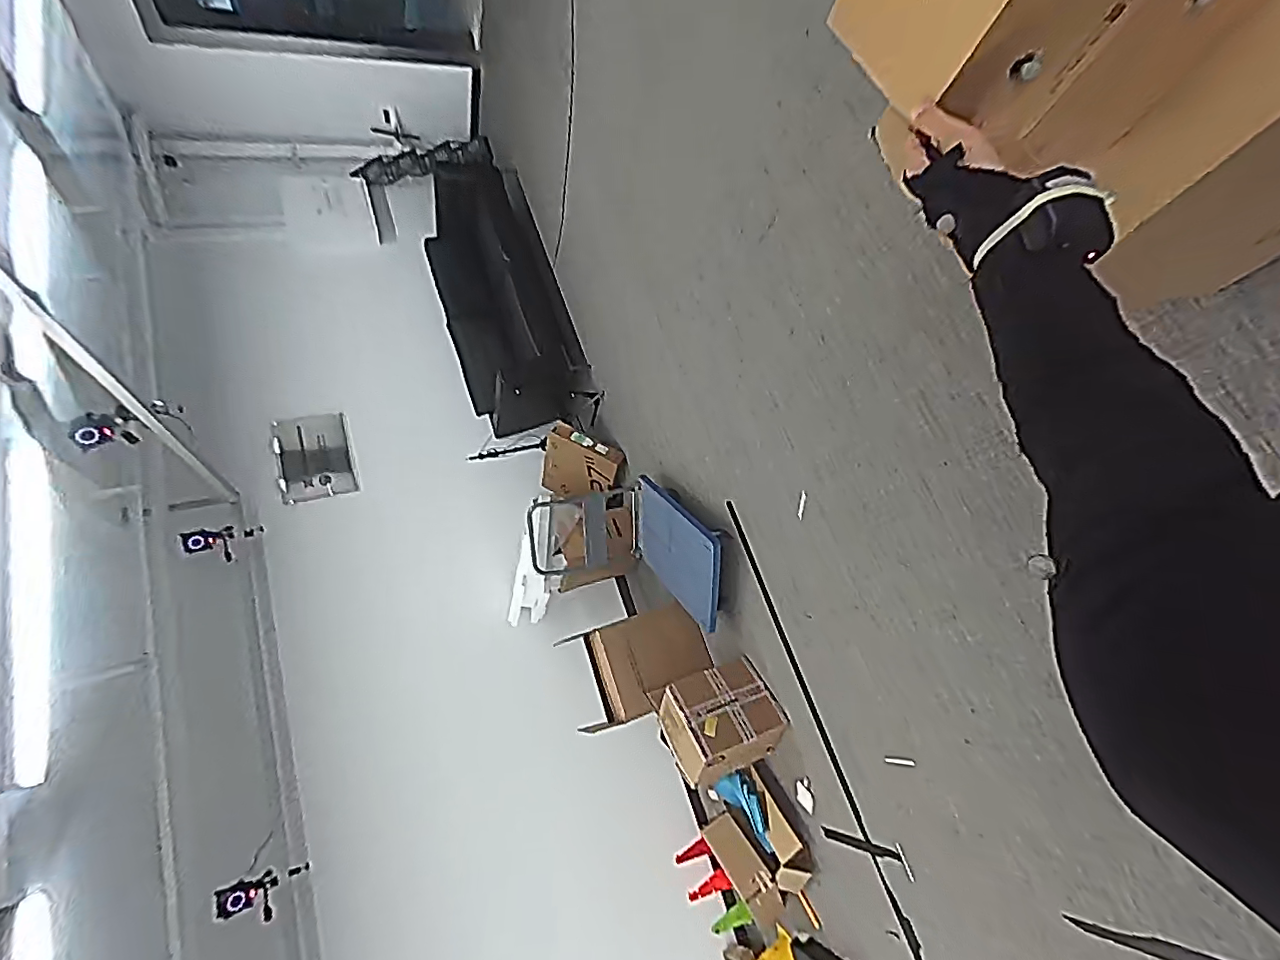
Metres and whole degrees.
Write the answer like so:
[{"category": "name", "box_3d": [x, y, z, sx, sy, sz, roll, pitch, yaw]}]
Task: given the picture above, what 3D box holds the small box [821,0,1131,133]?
[{"category": "small box", "box_3d": [0.302, -0.438, 0.468, 0.168, 0.176, 0.179, 119, 133, -60]}]
